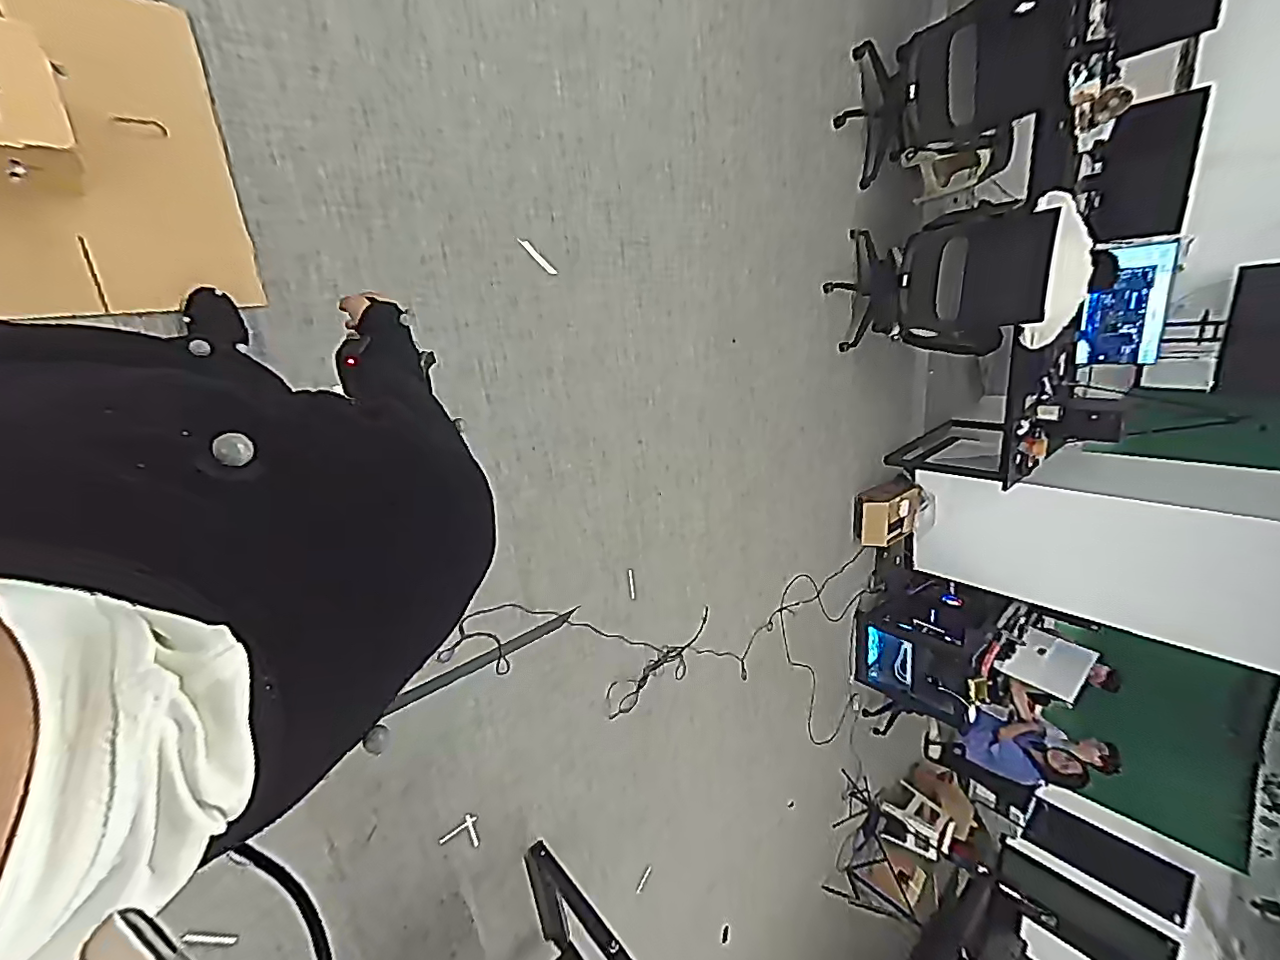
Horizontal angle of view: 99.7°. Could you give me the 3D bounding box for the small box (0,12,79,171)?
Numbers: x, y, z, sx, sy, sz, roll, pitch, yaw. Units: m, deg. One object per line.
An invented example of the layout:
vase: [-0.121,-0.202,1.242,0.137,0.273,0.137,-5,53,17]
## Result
small box: [-1.032,-0.614,0.854,0.168,0.176,0.179,-17,111,-38]

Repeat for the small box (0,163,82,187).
small box: [-1.147,-0.638,0.970,0.179,0.176,0.168,-18,111,-38]
